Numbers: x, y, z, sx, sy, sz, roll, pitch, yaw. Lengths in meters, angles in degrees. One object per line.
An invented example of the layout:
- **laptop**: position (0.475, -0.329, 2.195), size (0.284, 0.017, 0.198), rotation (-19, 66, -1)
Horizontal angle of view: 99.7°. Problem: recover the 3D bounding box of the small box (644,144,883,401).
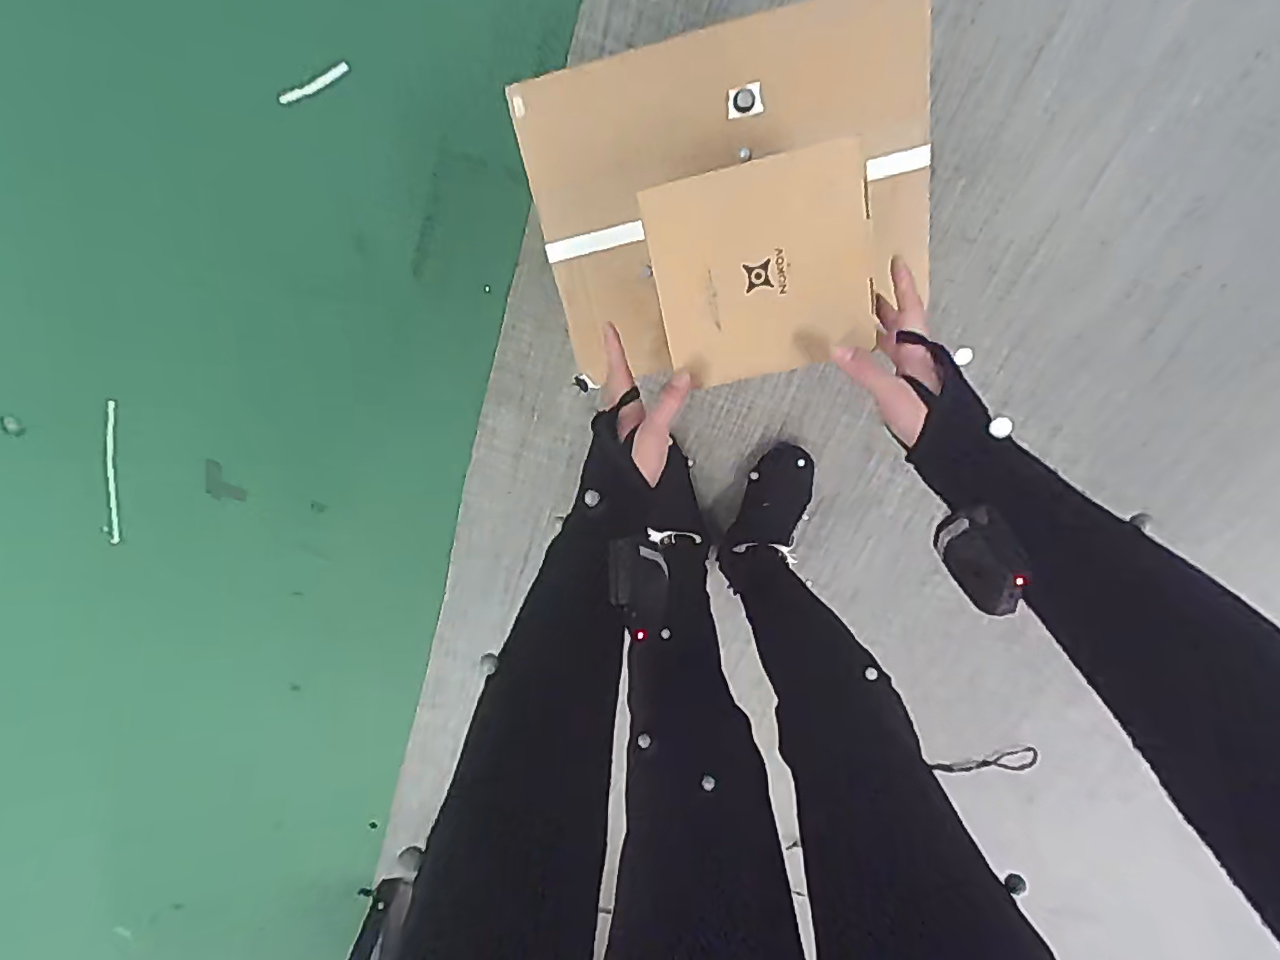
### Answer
- **small box**: position (0.104, -0.189, 0.504), size (0.179, 0.176, 0.168), rotation (-11, 112, 7)
